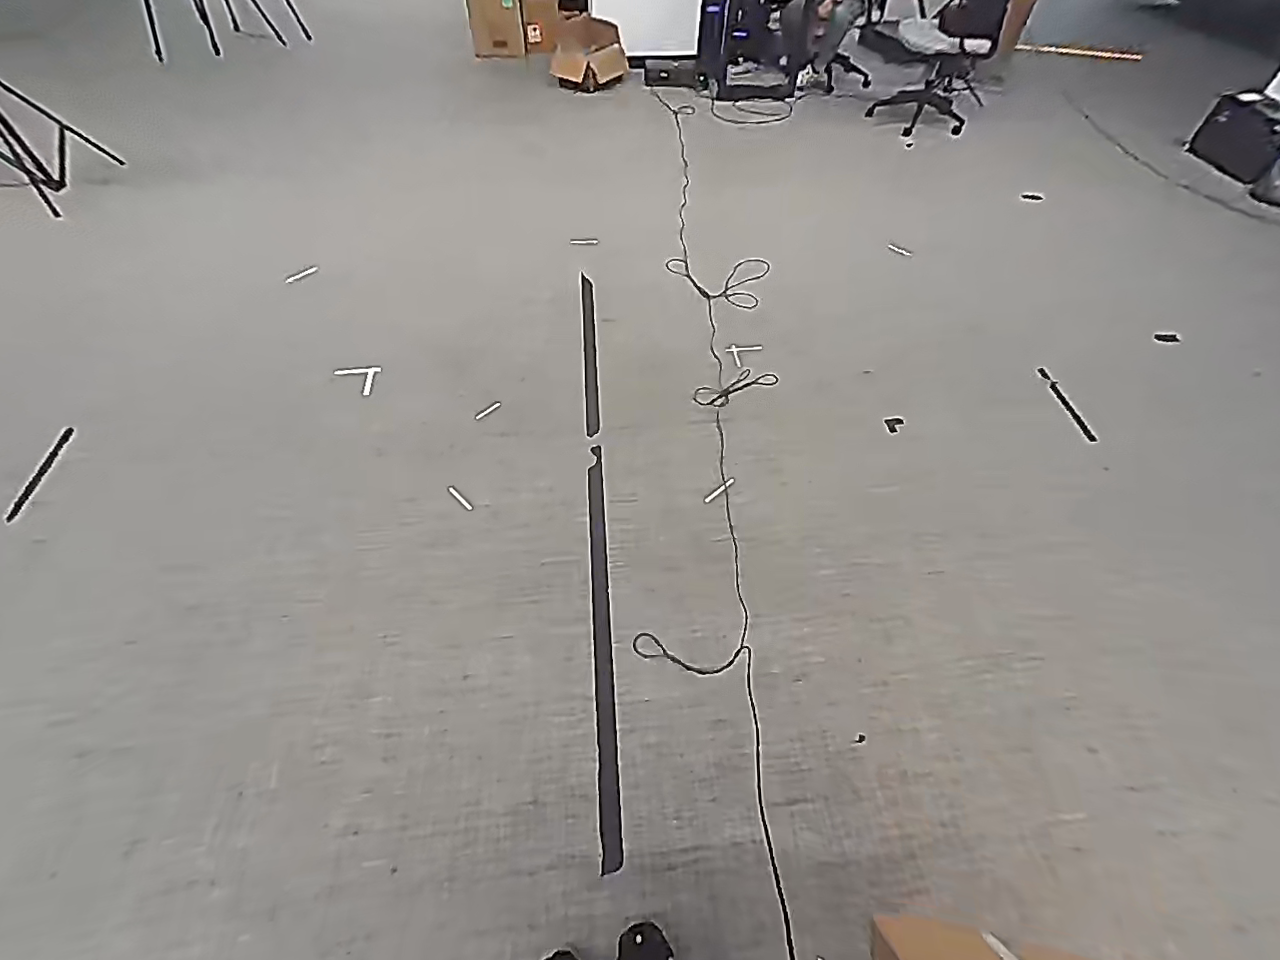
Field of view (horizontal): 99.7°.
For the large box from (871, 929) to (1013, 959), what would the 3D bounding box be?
[{"bbox_3d":[0.448,0.764,0.553,0.320,0.408,0.320,5,71,9],"label":"large box"}]
